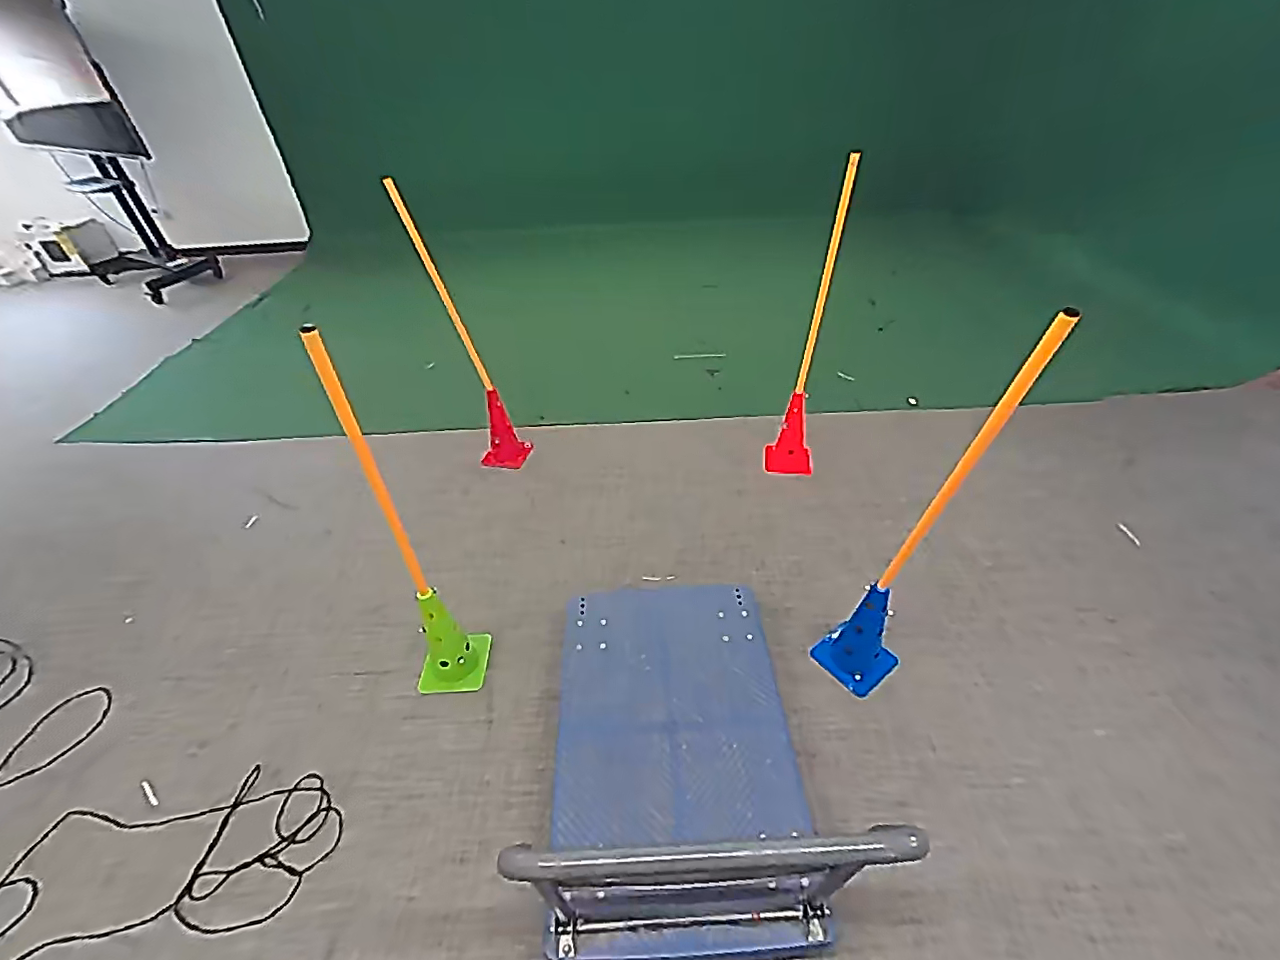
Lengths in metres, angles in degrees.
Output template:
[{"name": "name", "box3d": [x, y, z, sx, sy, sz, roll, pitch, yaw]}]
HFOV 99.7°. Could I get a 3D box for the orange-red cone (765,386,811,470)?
[{"name": "orange-red cone", "box3d": [0.650, -0.237, 2.301, 0.198, 0.360, 0.199, 4, 42, 10]}]
